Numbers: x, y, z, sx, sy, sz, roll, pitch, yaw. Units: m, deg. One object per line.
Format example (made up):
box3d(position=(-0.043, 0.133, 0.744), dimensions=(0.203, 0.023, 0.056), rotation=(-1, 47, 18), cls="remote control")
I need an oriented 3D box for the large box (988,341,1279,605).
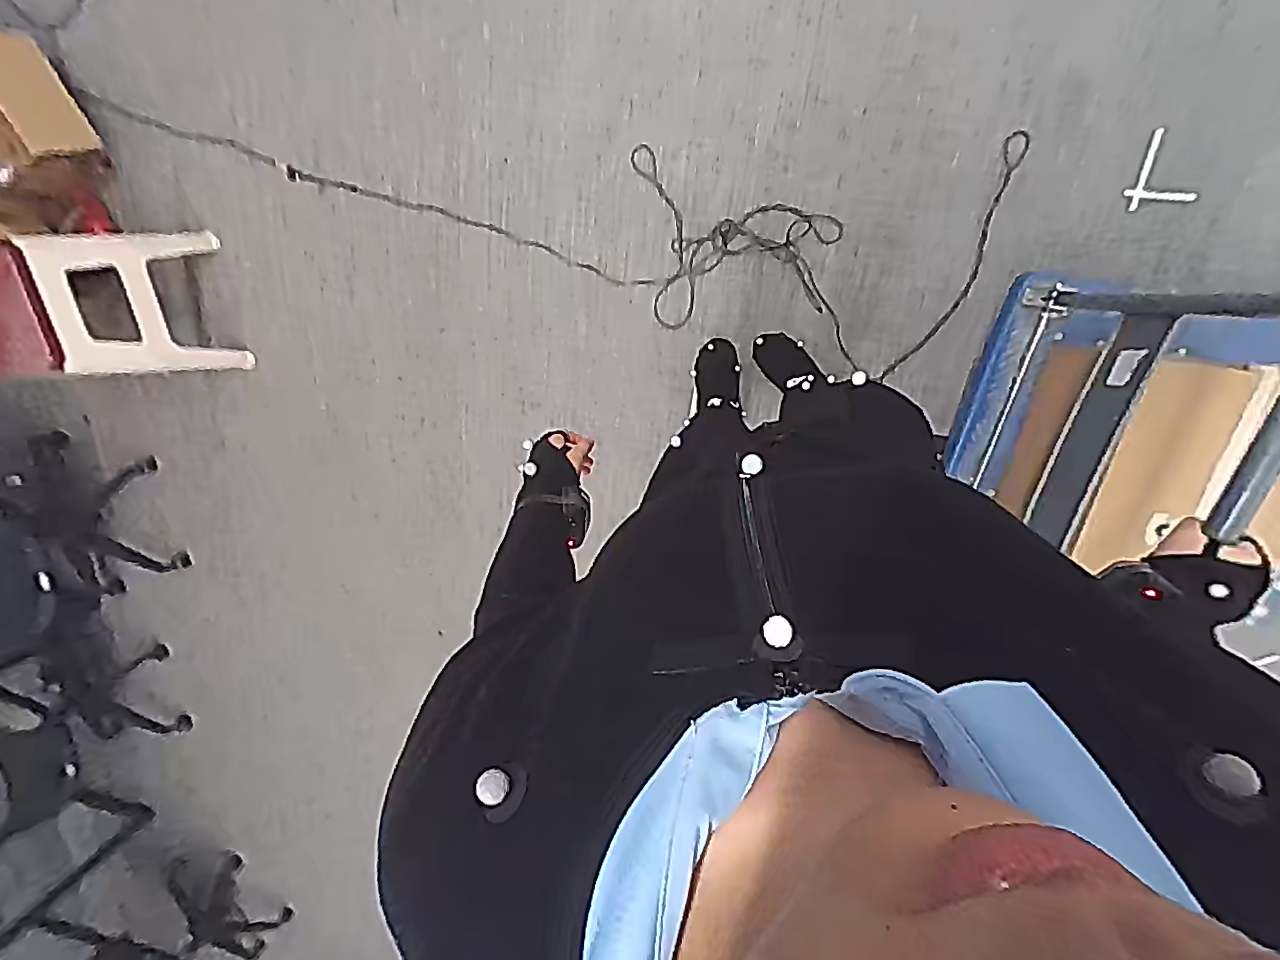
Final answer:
box3d(position=(0.944, -0.036, 1.032), dimensions=(0.320, 0.320, 0.408), rotation=(9, 111, 9), cls="large box")
